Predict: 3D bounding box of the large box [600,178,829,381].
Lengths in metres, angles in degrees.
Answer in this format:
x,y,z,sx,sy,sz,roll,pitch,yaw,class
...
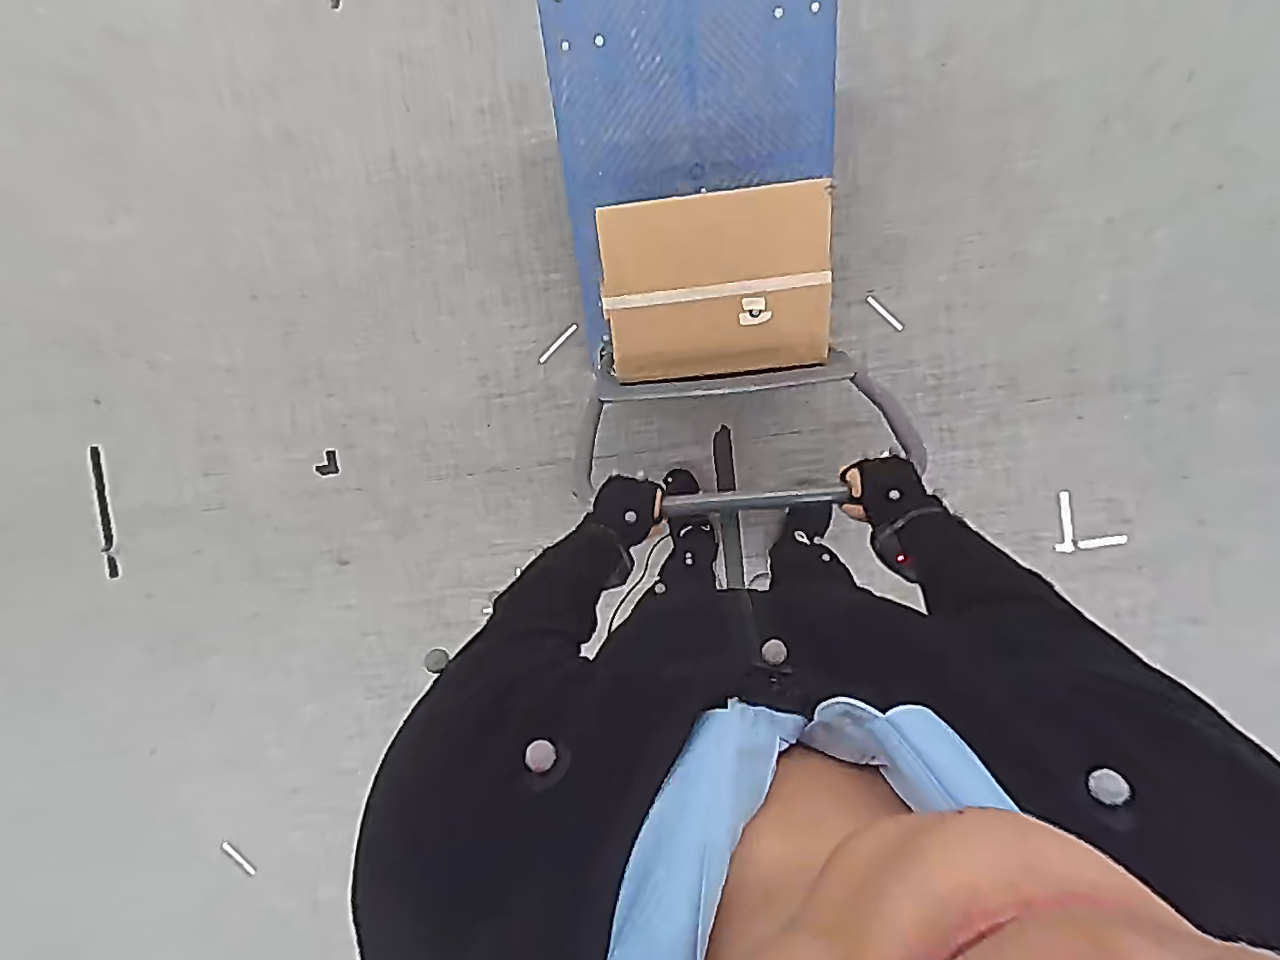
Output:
x,y,z,sx,sy,sz,roll,pitch,yaw,class
0.146,-0.417,1.132,0.408,0.320,0.320,-6,116,4,large box
